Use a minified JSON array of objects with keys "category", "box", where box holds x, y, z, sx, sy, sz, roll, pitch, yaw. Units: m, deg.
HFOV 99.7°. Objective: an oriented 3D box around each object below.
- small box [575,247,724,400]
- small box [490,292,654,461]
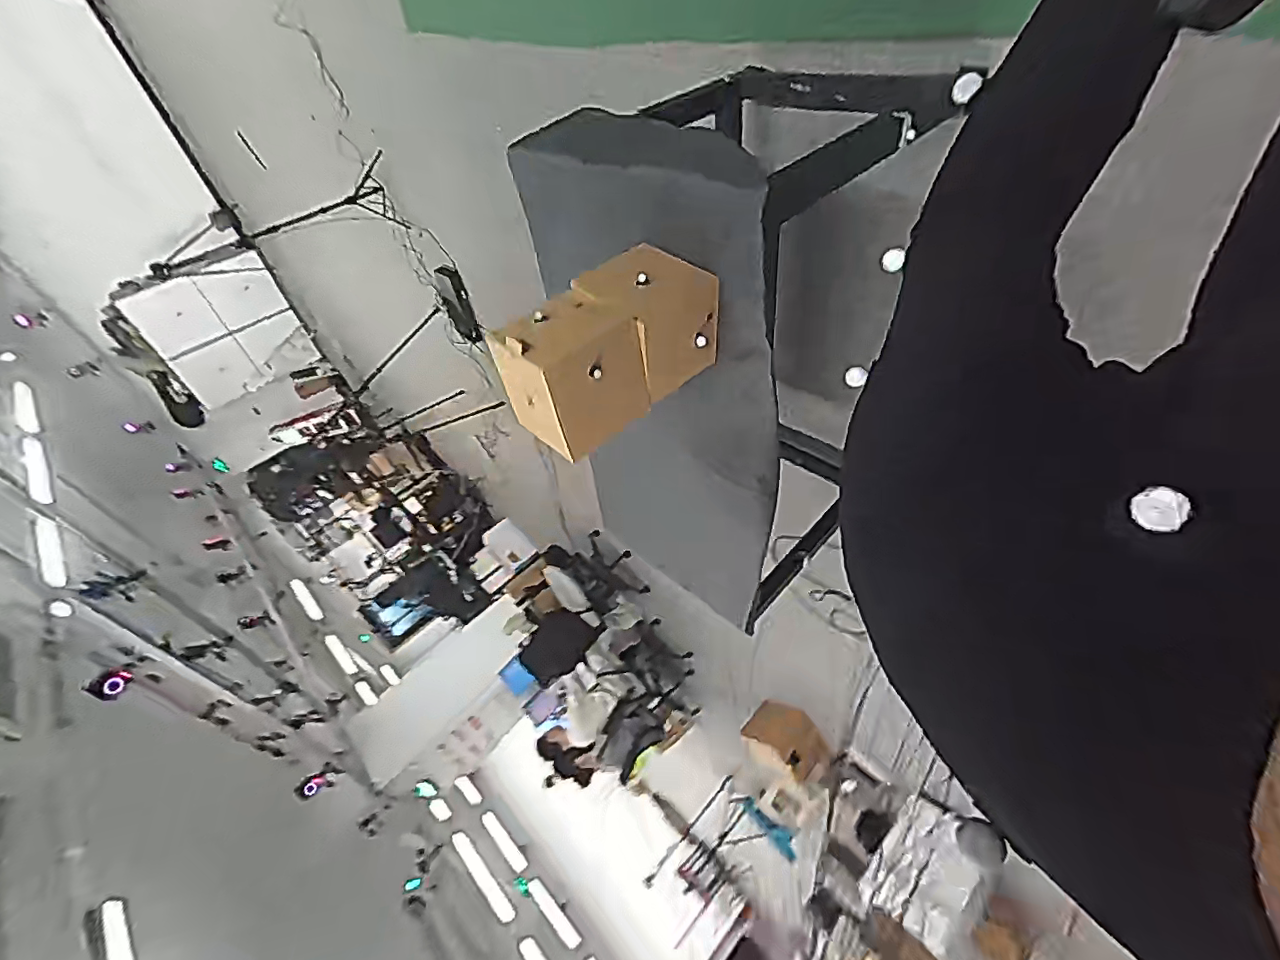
[{"category":"small box","box":[0.017,-0.267,0.908,0.179,0.176,0.168,38,153,30]},{"category":"small box","box":[-0.099,-0.169,0.851,0.168,0.176,0.179,35,153,37]}]
